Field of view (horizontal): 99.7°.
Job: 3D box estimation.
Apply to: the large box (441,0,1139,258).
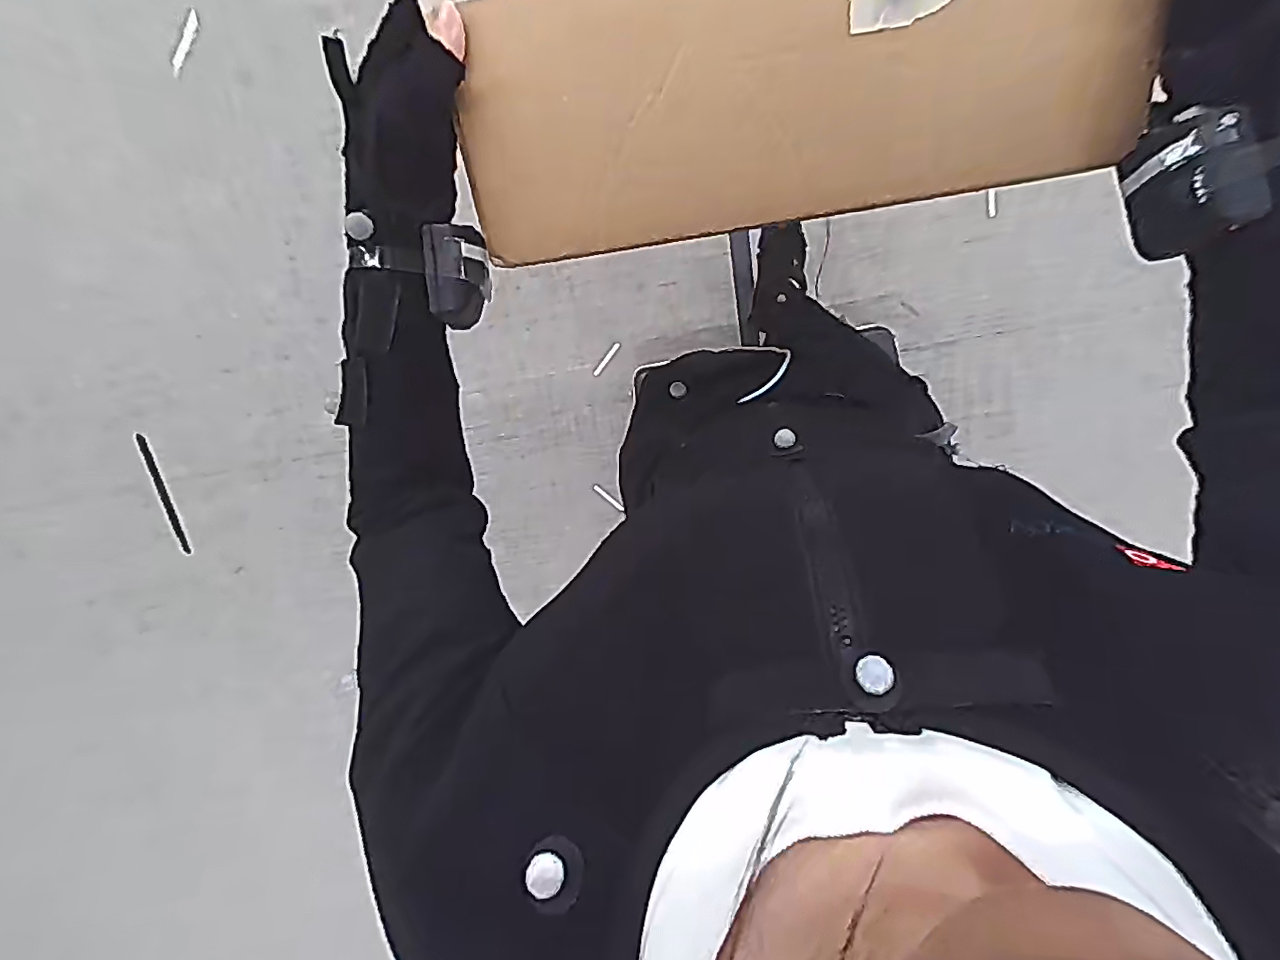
[{"bbox_3d":[0.083,-0.385,0.431,0.408,0.320,0.320,-6,116,9],"label":"large box"}]
